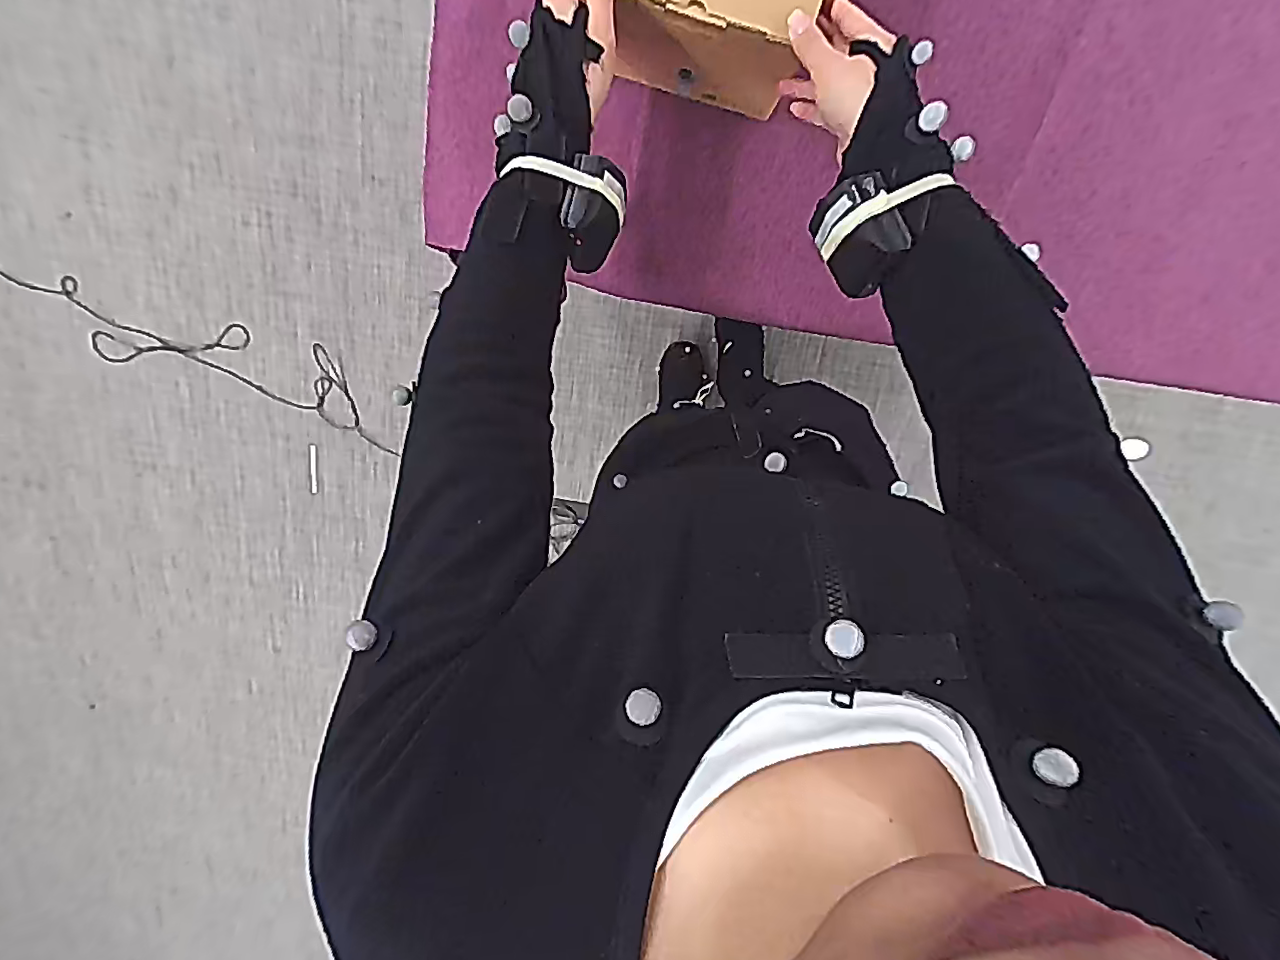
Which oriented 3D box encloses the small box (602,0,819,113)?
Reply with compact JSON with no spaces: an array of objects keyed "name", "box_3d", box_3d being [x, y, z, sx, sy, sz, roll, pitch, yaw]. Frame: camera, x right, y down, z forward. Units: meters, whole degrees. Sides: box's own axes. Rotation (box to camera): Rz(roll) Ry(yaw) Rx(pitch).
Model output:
[{"name":"small box","box_3d":[0.065,-0.433,0.426,0.168,0.176,0.179,15,108,-2]}]
